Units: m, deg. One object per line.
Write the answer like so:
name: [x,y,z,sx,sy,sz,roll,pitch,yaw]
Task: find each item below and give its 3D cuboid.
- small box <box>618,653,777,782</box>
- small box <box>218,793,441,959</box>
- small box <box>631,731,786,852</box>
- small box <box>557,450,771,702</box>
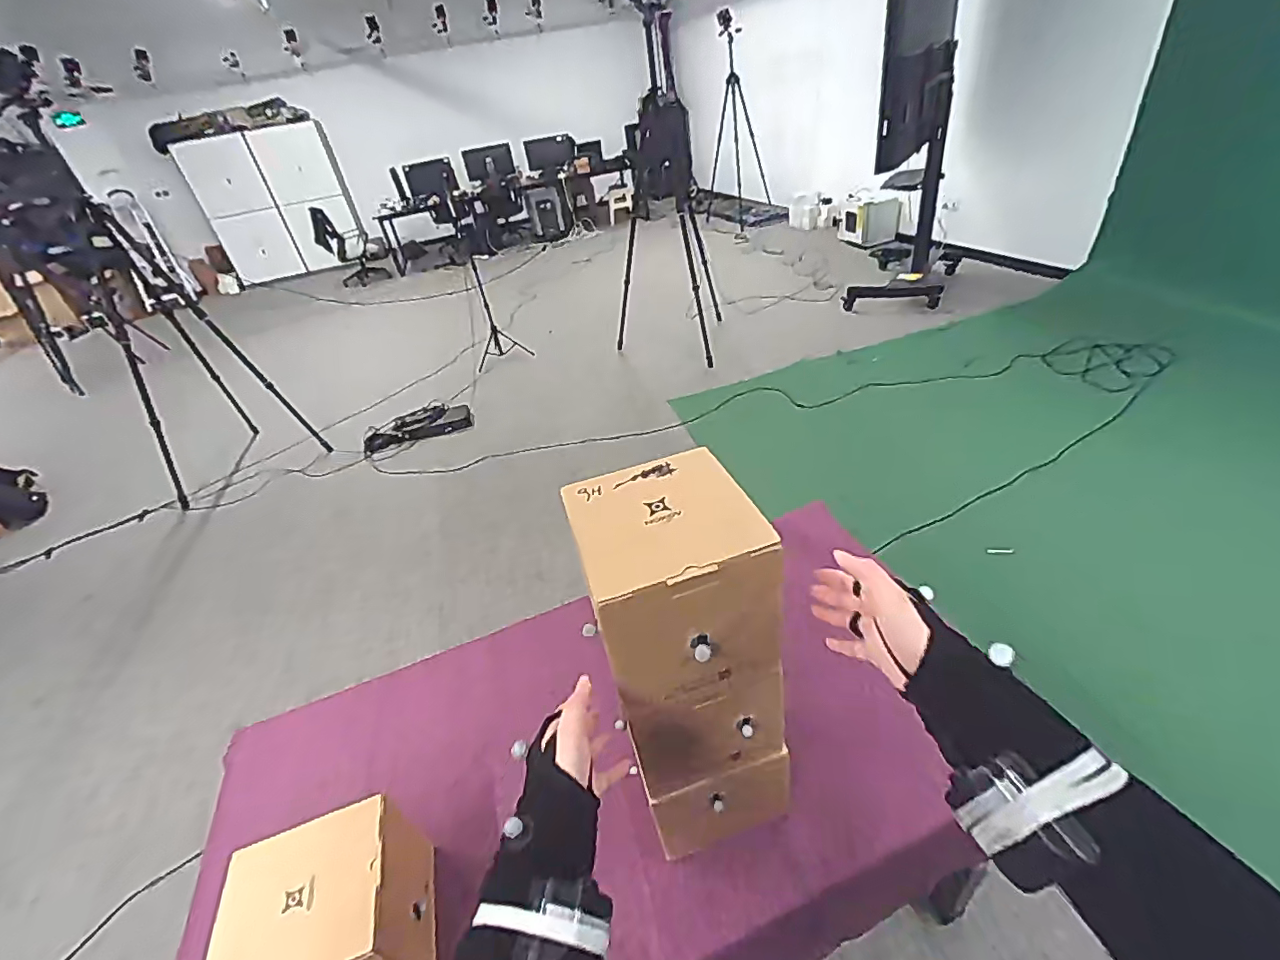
small box: [0.056,0.231,0.650,0.168,0.176,0.179,-16,35,-7]
small box: [-0.355,0.526,0.646,0.179,0.176,0.168,-18,36,-10]
small box: [0.086,0.366,0.736,0.179,0.176,0.168,-17,36,-6]
small box: [0.025,0.100,0.555,0.168,0.176,0.179,-16,36,-8]
